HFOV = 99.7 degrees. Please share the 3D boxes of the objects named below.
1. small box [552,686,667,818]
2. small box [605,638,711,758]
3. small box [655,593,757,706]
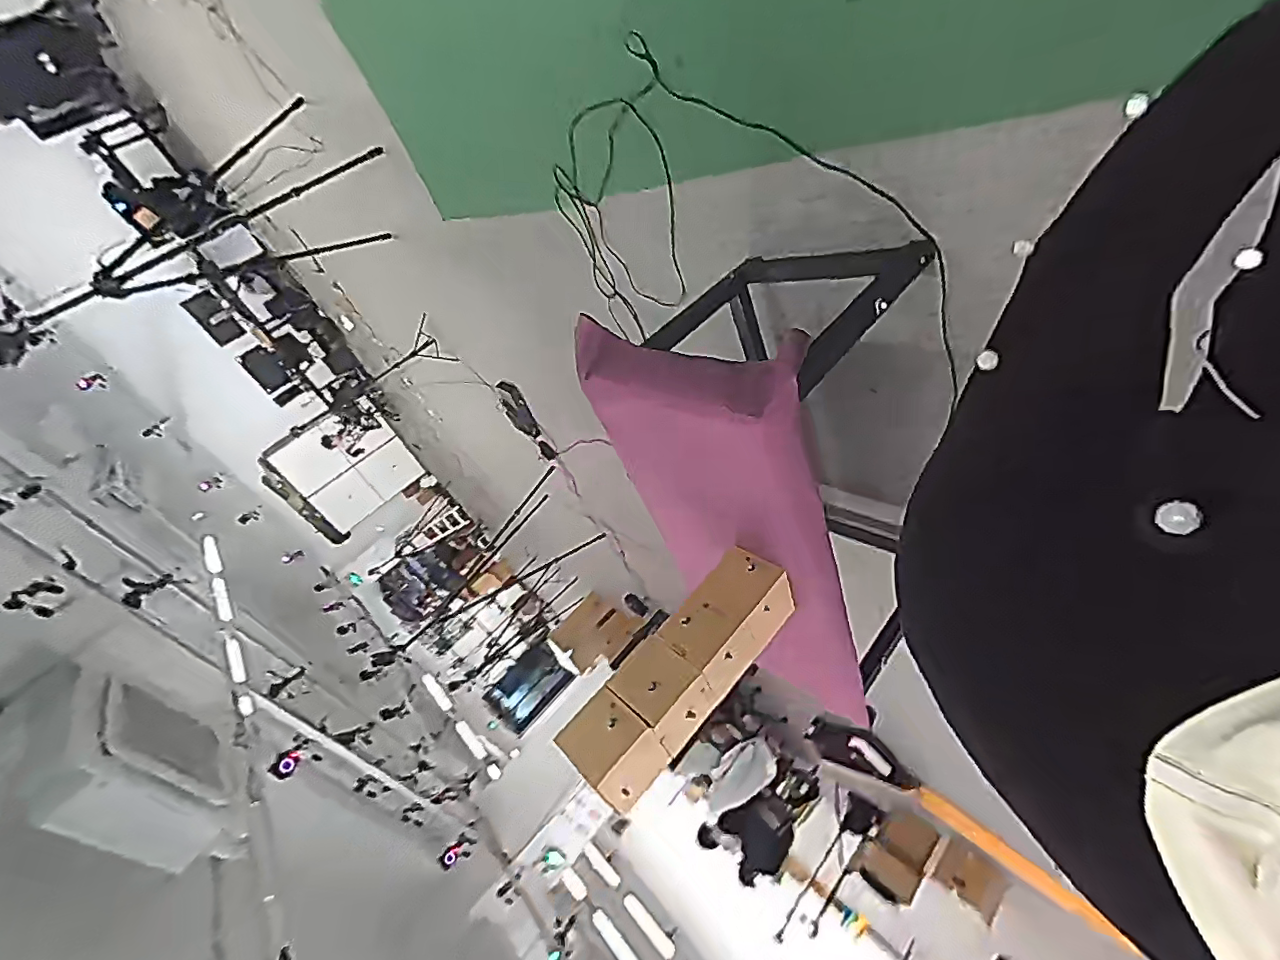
[{"bbox_3d":[-0.063,0.614,1.233,0.168,0.176,0.179,24,147,45],"label":"small box"},{"bbox_3d":[0.052,0.514,1.294,0.179,0.176,0.168,25,148,43],"label":"small box"},{"bbox_3d":[0.169,0.415,1.351,0.168,0.176,0.179,26,149,43],"label":"small box"}]
